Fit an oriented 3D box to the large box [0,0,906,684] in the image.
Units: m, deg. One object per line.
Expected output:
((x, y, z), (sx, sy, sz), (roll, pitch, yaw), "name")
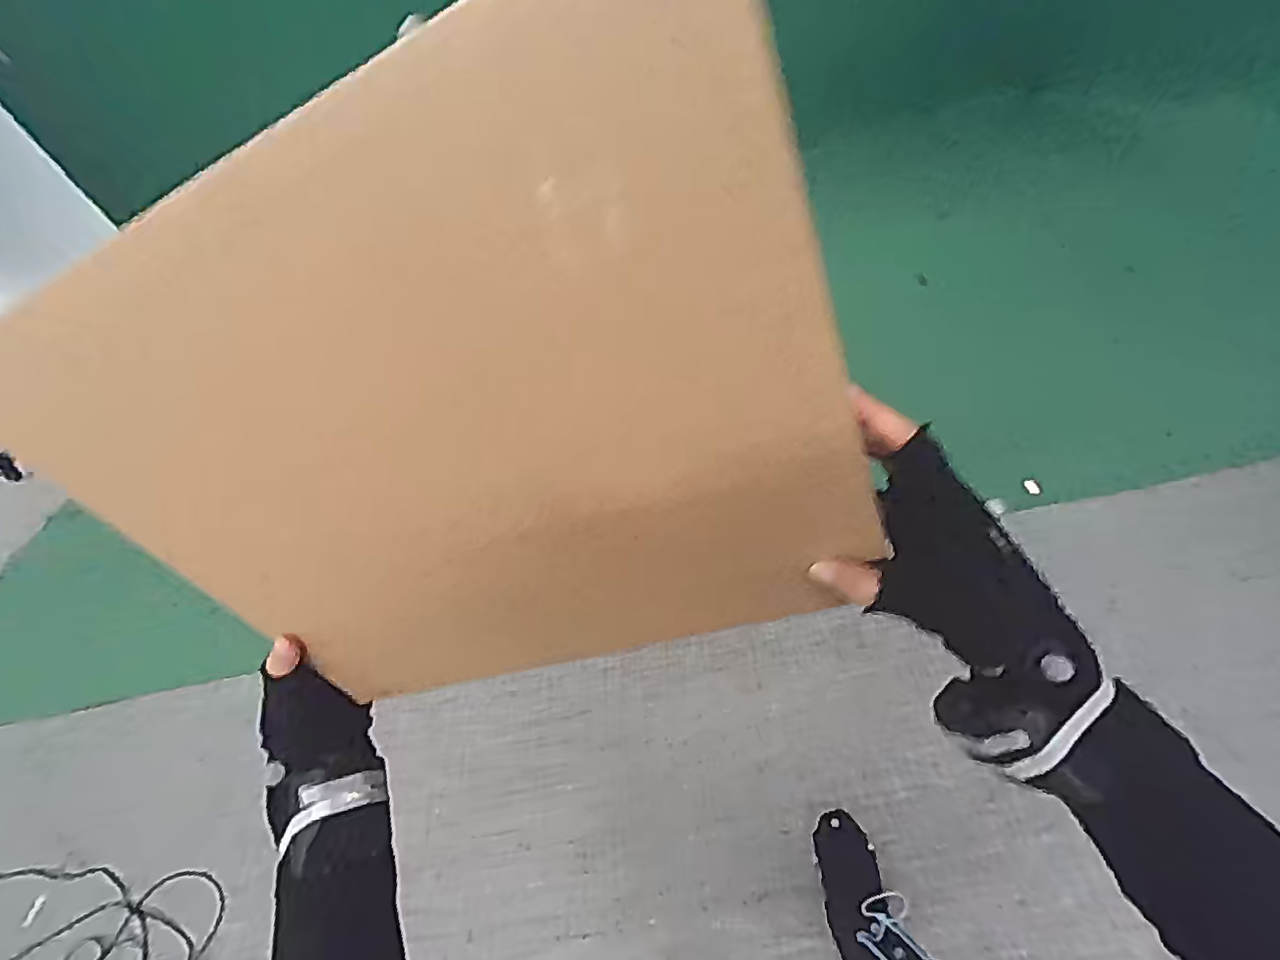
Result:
((-0.075, -0.095, 0.400), (0.408, 0.320, 0.320), (-16, 37, 15), "large box")
